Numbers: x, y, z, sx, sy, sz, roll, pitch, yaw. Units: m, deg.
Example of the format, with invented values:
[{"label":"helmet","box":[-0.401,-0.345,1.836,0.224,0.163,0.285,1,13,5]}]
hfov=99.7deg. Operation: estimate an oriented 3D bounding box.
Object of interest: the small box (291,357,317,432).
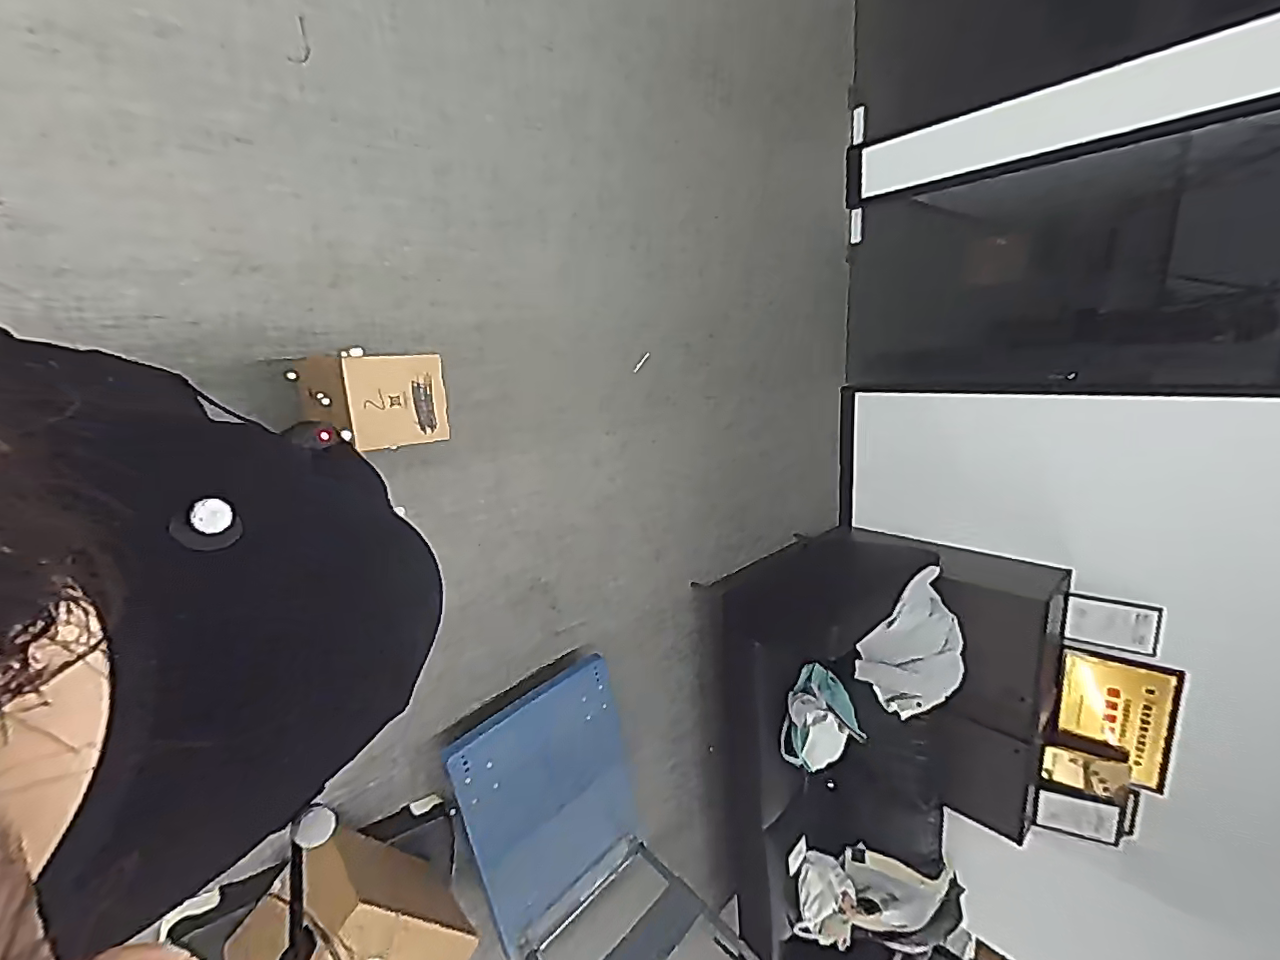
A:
[{"label":"small box","box":[-0.716,-0.209,1.294,0.179,0.176,0.168,-15,108,-42]}]

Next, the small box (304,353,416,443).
[{"label":"small box","box":[-0.609,-0.182,1.172,0.168,0.176,0.179,-14,108,-40]}]
